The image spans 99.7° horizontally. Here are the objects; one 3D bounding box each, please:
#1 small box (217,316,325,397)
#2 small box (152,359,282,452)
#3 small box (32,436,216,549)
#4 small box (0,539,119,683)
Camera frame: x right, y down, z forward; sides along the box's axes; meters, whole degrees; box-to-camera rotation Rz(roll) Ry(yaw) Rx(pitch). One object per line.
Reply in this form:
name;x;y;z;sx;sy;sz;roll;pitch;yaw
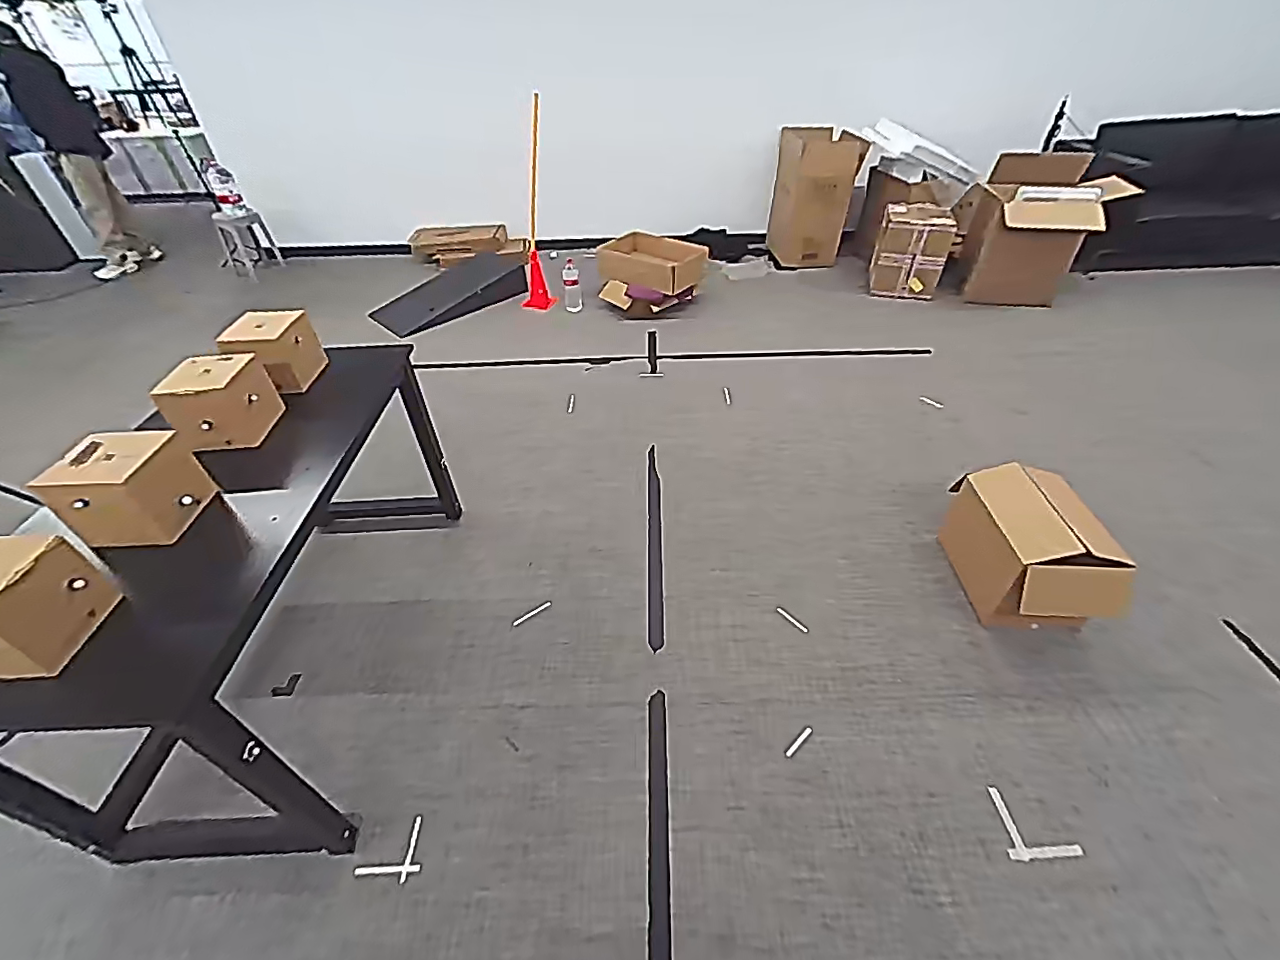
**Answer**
small box;-1.032;-0.346;1.533;0.168;0.176;0.179;-2;41;0
small box;-1.033;-0.180;1.344;0.168;0.176;0.179;-5;42;-3
small box;-1.033;0.028;1.103;0.179;0.176;0.168;-2;41;-1
small box;-1.035;0.216;0.886;0.179;0.176;0.168;-4;40;-1
